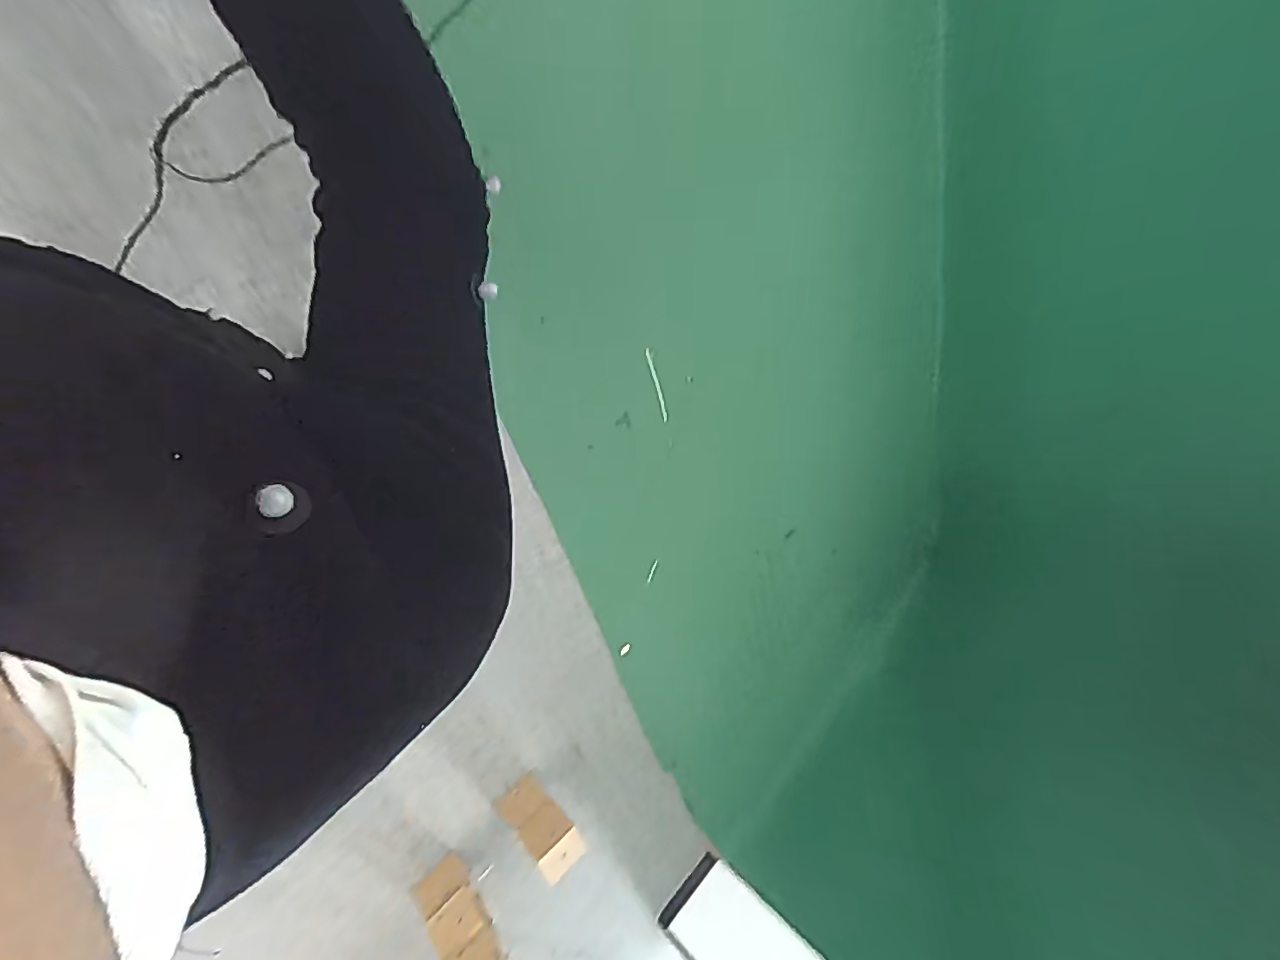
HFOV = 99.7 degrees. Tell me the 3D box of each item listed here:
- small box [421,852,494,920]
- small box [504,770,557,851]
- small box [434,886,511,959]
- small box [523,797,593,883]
[{"bbox_3d":[-0.679,1.539,2.007,0.179,0.176,0.168,-34,123,-27],"label":"small box"},{"bbox_3d":[-0.422,1.318,2.164,0.179,0.176,0.168,-33,123,-29],"label":"small box"},{"bbox_3d":[-0.585,1.566,1.878,0.168,0.176,0.179,-38,126,-26],"label":"small box"},{"bbox_3d":[-0.311,1.352,2.046,0.179,0.176,0.168,-32,122,-29],"label":"small box"}]
